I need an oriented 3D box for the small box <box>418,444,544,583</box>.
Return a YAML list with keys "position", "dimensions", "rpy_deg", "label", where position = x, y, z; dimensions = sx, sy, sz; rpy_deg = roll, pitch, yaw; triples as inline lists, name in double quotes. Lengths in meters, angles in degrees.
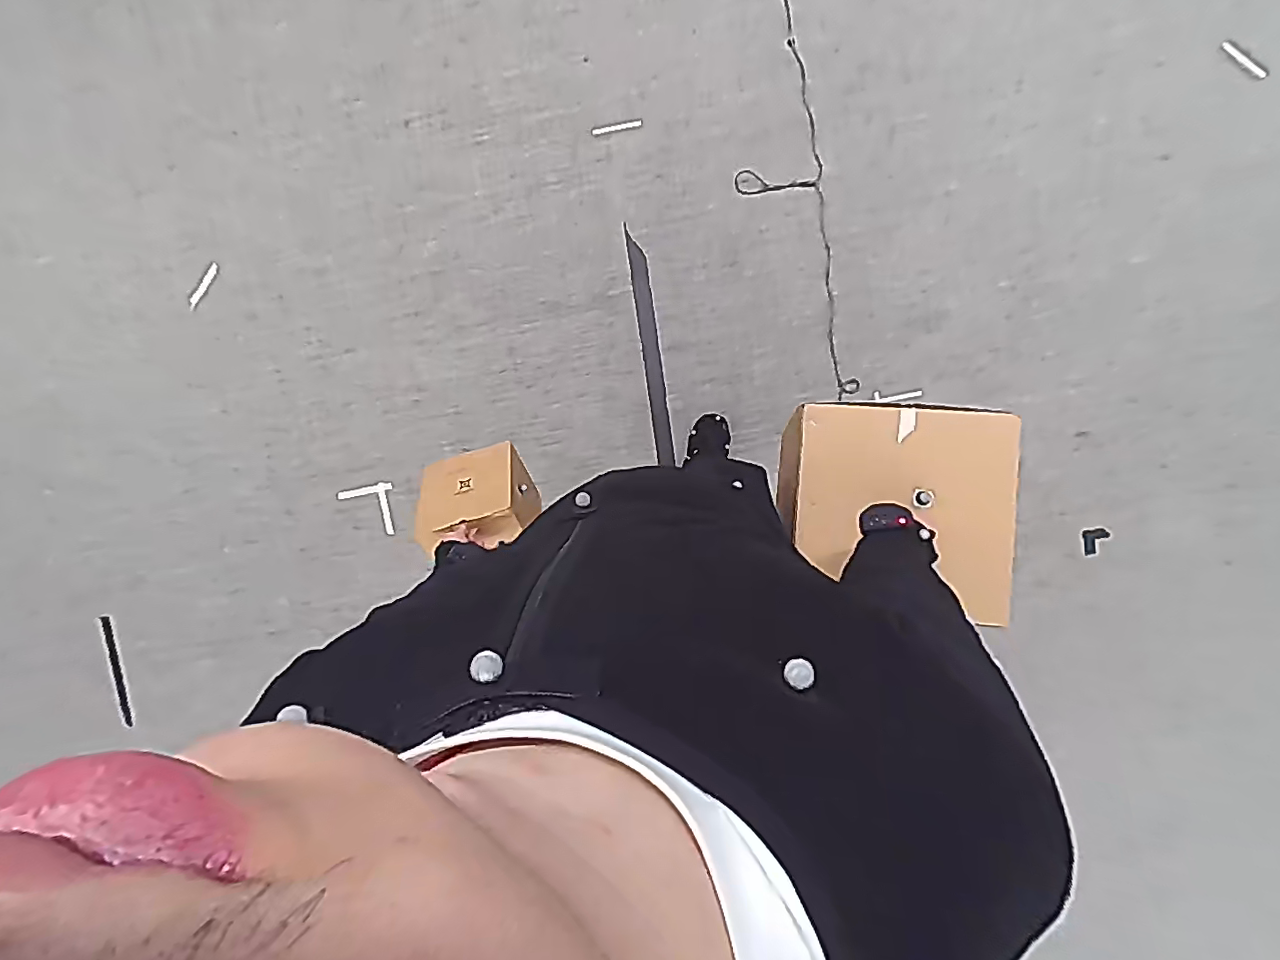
- position: [-0.280, 0.068, 0.988]
  dimensions: [0.168, 0.179, 0.176]
  rpy_deg: [-16, 135, 2]
  label: "small box"
